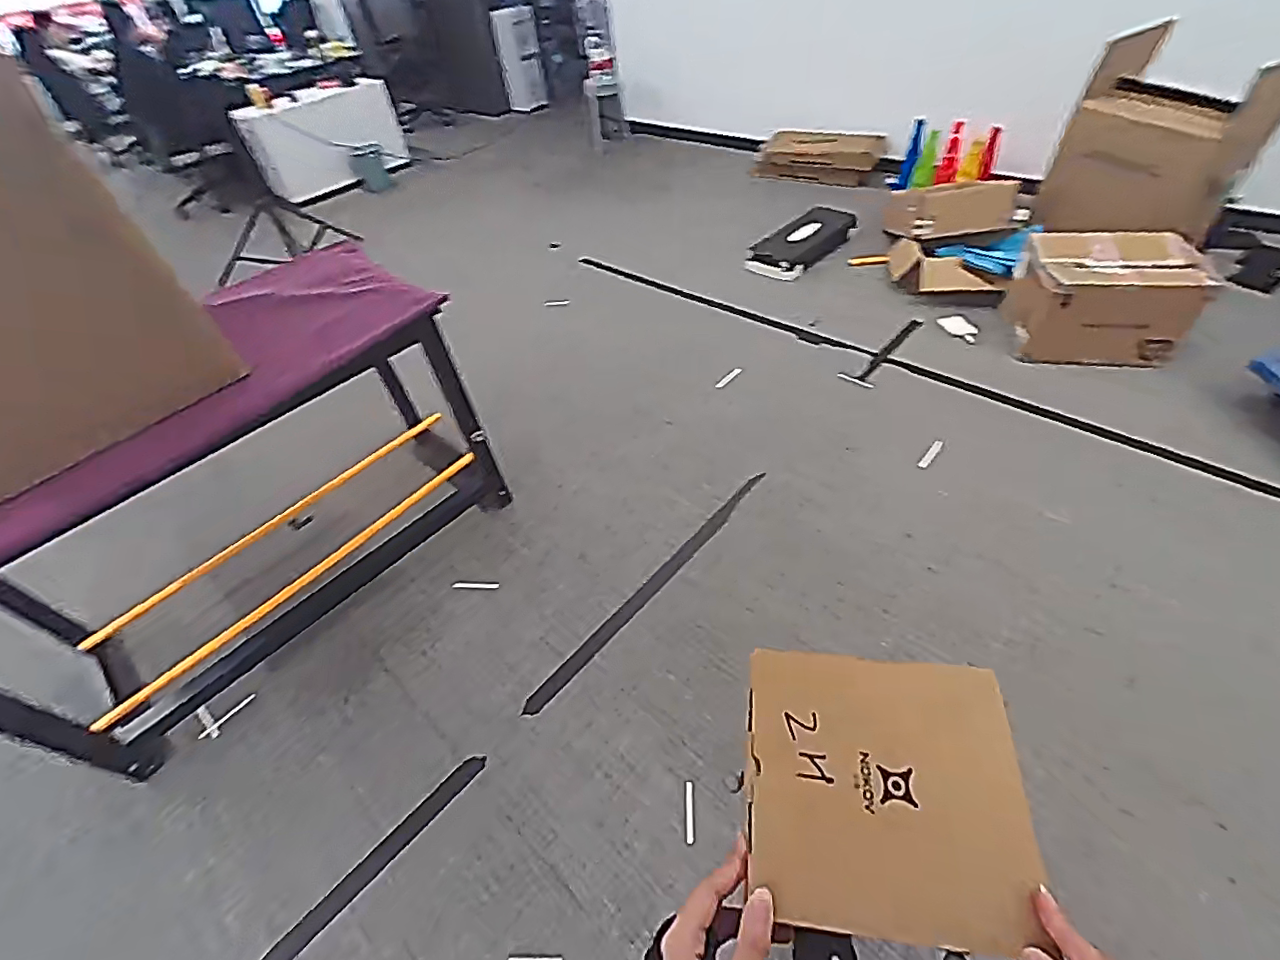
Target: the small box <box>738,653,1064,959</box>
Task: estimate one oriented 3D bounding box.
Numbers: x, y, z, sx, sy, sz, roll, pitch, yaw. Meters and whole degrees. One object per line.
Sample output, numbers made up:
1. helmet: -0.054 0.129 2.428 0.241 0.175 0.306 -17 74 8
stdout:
1. small box: 0.170 0.249 0.422 0.179 0.176 0.168 1 54 9
